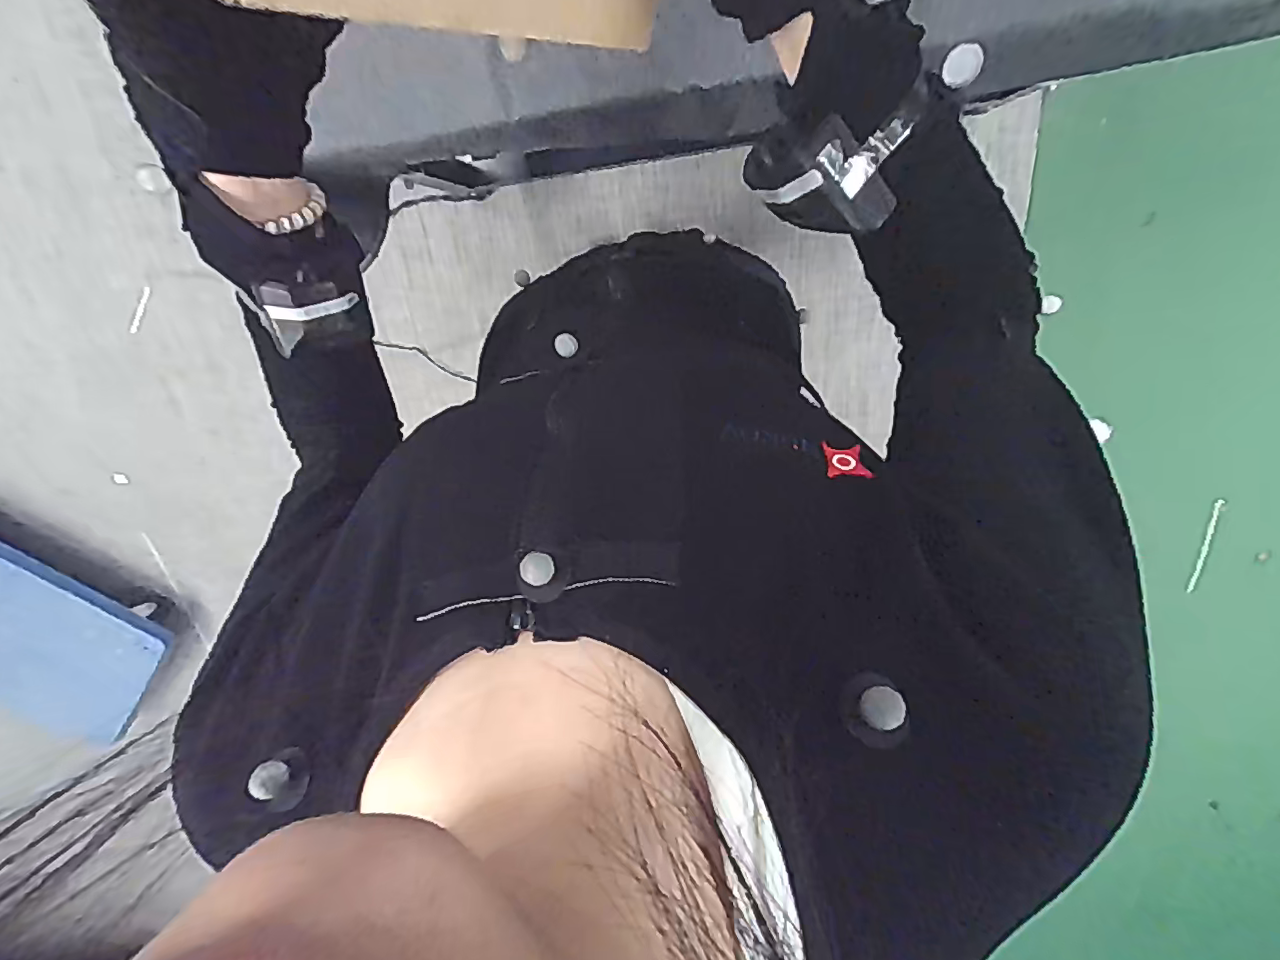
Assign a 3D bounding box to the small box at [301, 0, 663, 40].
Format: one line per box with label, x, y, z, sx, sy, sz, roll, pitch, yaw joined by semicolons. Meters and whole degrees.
small box;-0.089;-0.278;0.177;0.176;0.179;0.168;43;141;23
